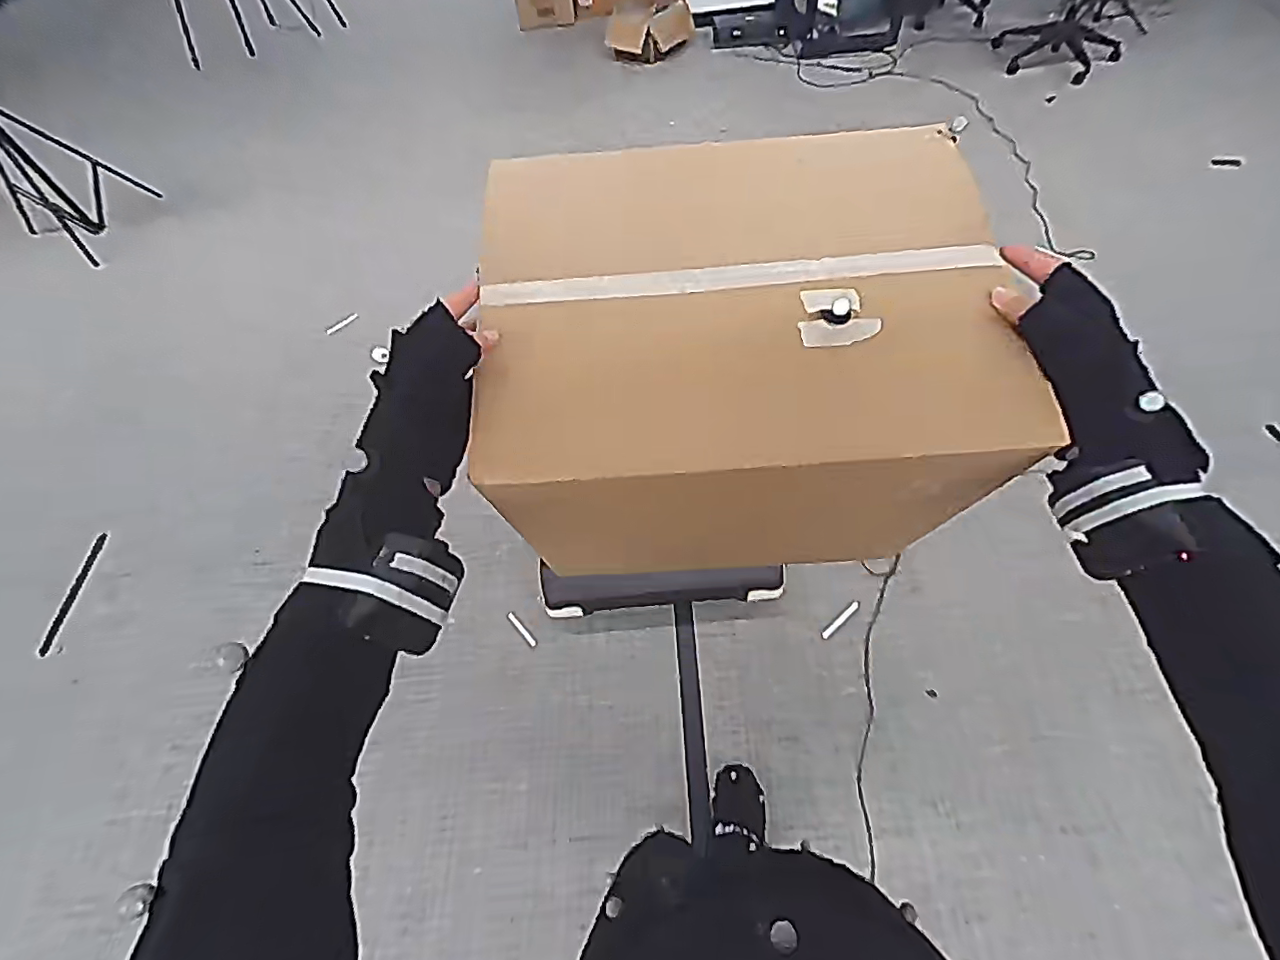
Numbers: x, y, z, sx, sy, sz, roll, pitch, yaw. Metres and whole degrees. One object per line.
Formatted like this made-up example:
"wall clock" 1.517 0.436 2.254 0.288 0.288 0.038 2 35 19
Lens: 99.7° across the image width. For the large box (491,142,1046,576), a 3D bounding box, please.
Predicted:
"large box" 0.083 -0.095 0.574 0.408 0.320 0.320 -4 69 1
